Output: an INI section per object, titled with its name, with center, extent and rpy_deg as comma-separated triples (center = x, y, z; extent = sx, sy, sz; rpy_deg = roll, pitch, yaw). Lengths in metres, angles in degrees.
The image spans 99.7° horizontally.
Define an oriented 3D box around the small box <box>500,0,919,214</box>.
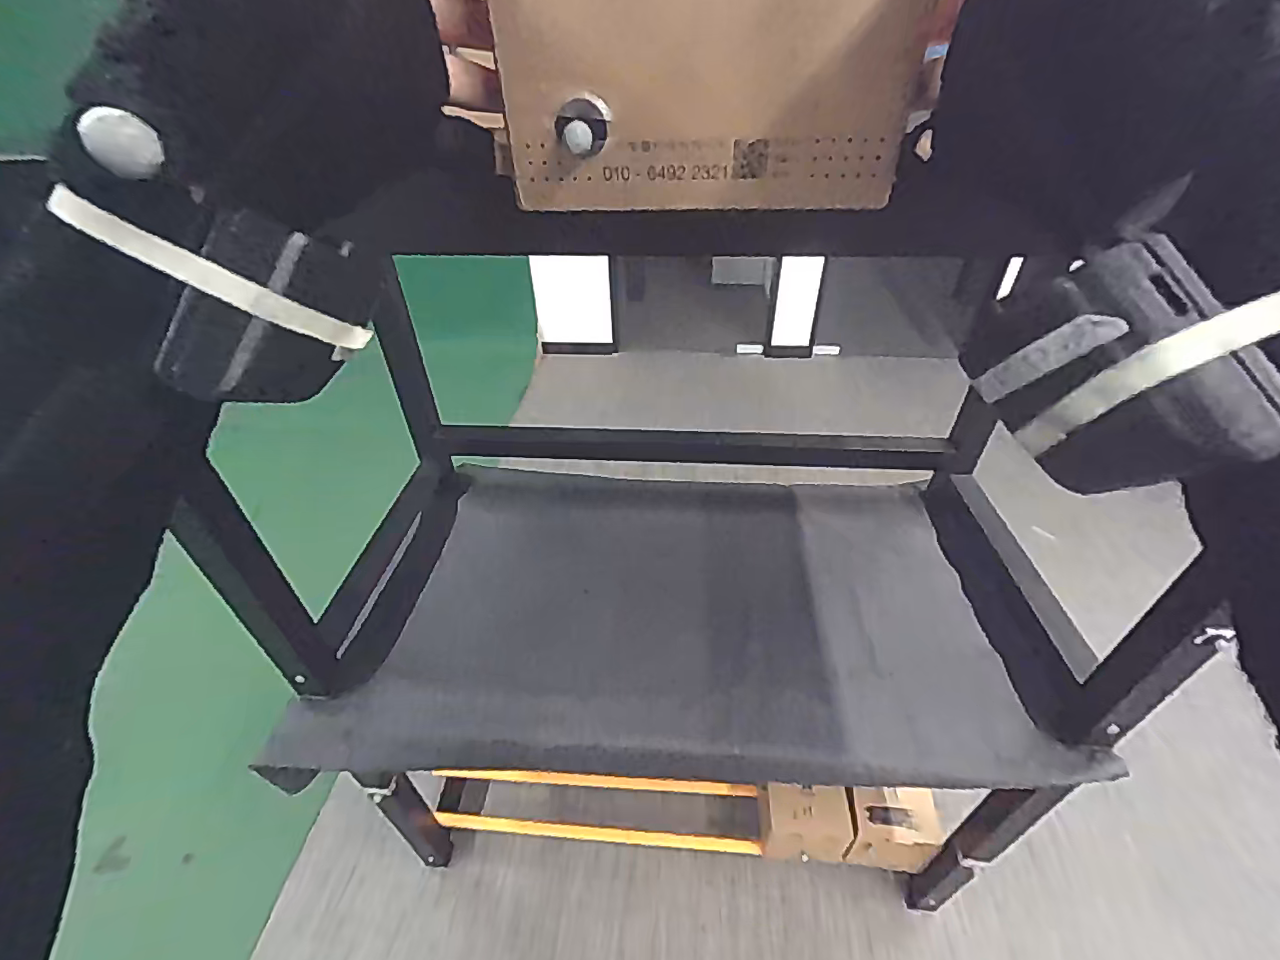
[small box]
center = 0.032, -0.239, 0.262
extent = 0.168, 0.176, 0.179
rpy_deg = 2, 41, 4
